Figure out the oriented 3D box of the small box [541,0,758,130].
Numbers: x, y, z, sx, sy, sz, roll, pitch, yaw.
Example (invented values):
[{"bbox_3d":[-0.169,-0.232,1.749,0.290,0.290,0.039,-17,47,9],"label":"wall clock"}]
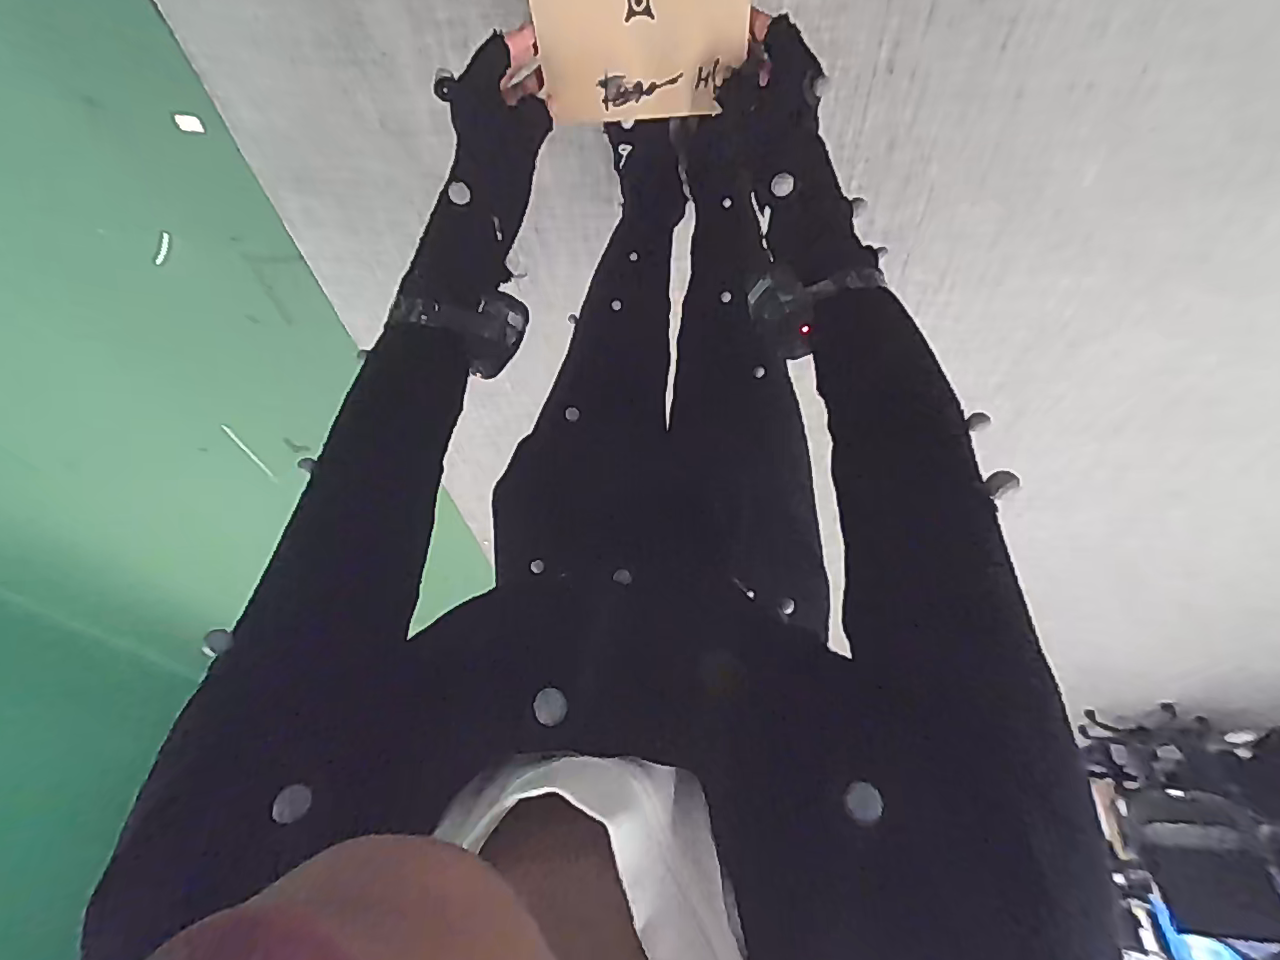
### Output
[{"bbox_3d":[0.007,-0.425,0.449,0.168,0.176,0.179,-1,143,4],"label":"small box"}]
